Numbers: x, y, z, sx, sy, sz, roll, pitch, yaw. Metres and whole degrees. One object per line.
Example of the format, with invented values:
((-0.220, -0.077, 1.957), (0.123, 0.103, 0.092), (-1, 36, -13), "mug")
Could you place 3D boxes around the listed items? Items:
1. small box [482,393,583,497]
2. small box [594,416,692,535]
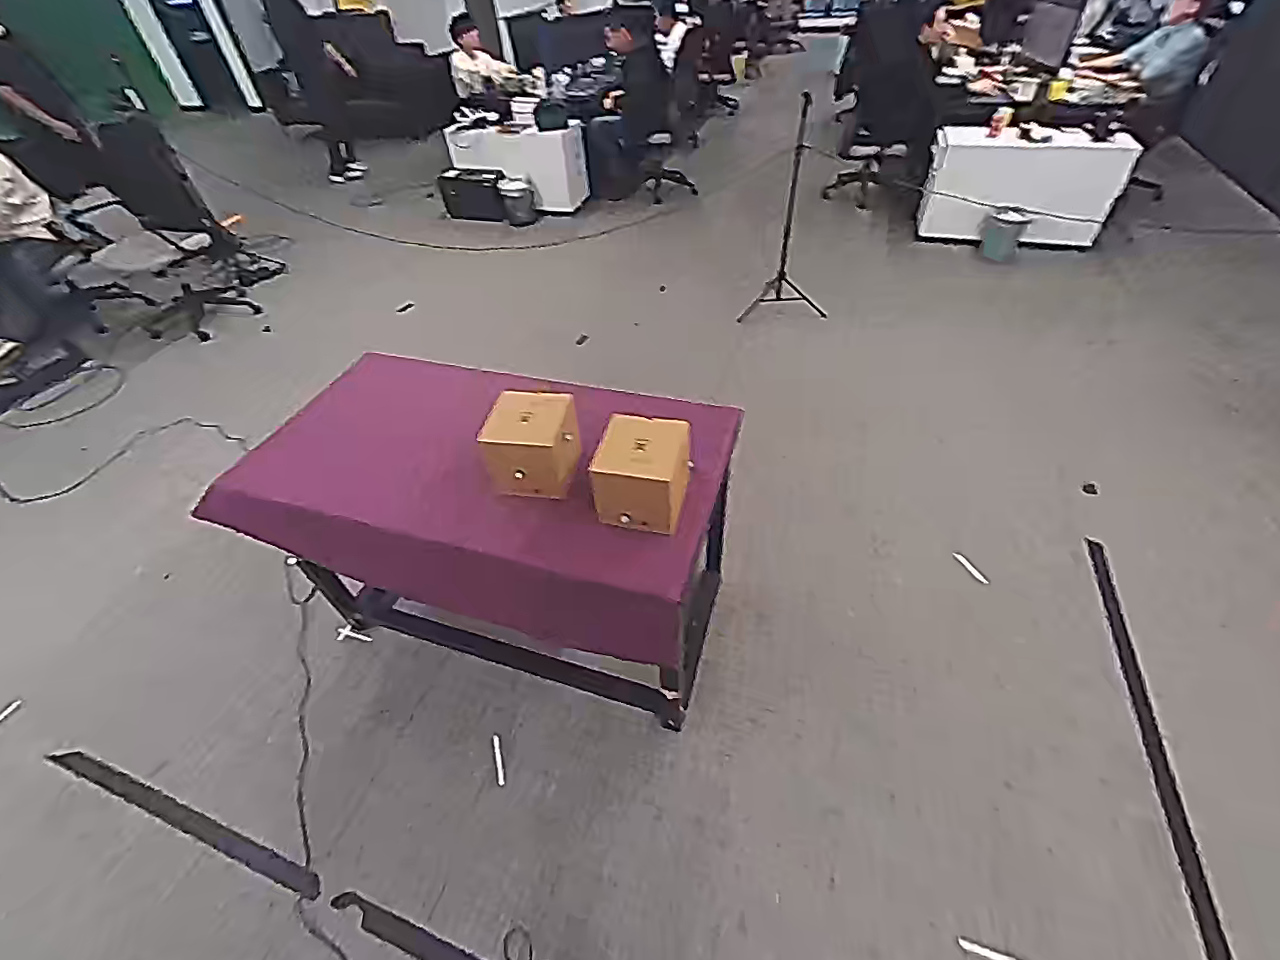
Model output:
((-0.236, -0.079, 1.244), (0.168, 0.176, 0.179), (5, 46, 9), "small box")
((0.013, -0.010, 1.157), (0.168, 0.176, 0.179), (8, 46, 14), "small box")
